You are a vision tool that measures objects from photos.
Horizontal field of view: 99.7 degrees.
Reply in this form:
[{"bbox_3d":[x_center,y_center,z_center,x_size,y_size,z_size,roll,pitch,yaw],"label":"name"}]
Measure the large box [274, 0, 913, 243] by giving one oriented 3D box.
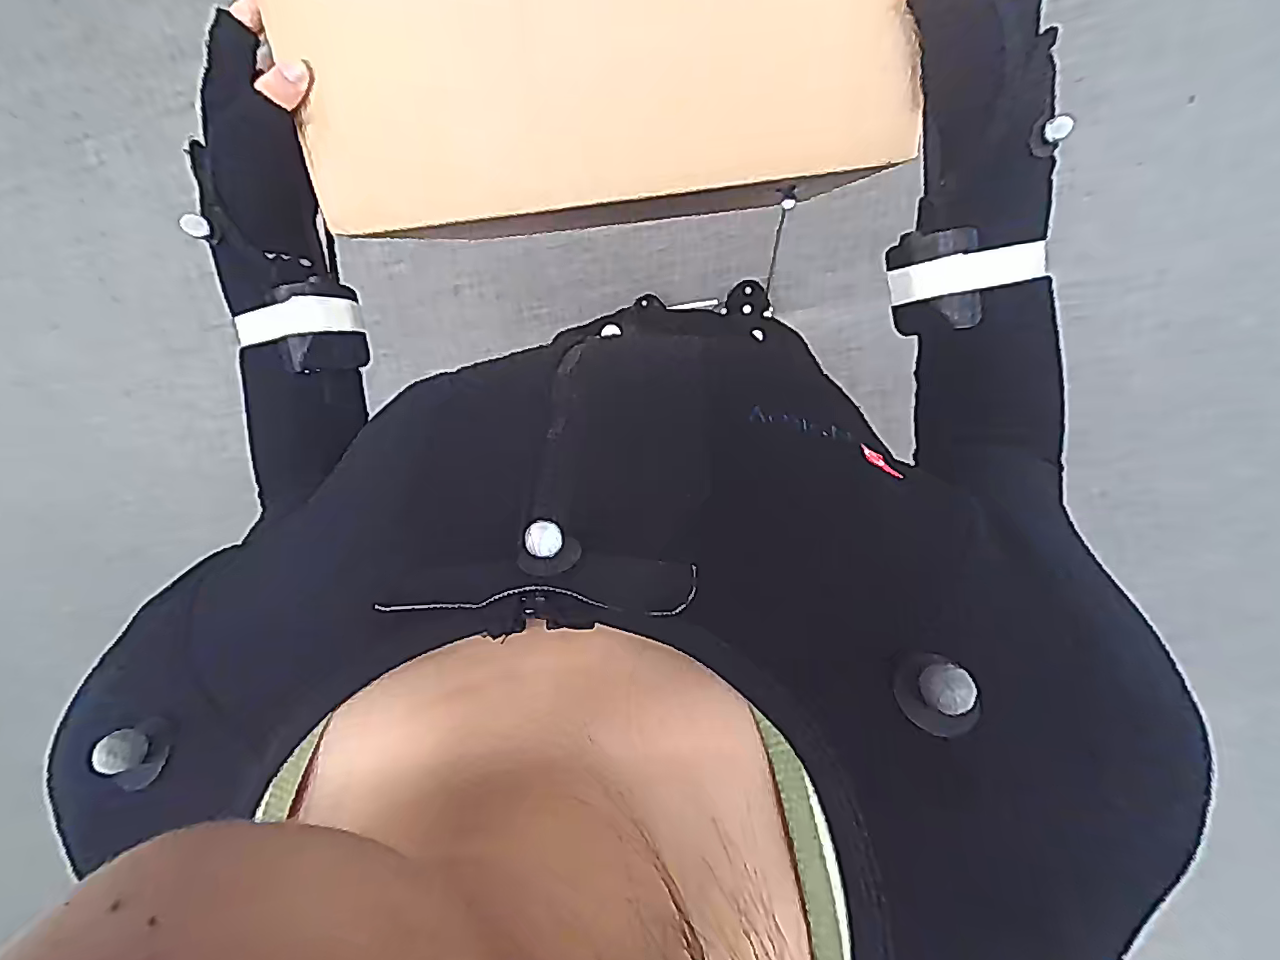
[{"bbox_3d":[-0.028,-0.393,0.457,0.408,0.320,0.320,-5,112,5],"label":"large box"}]
